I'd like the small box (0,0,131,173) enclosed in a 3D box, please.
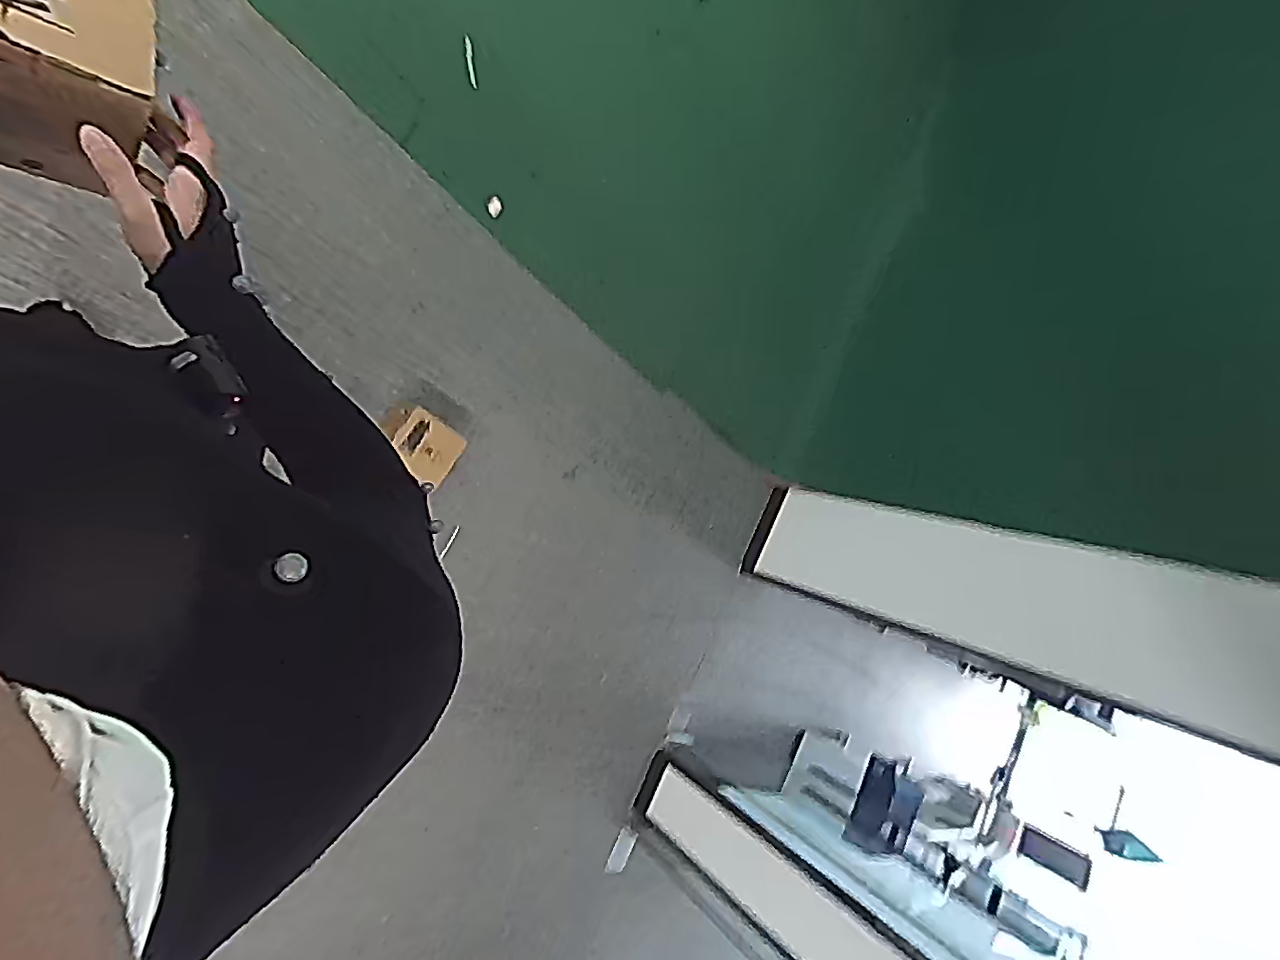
[{"bbox_3d":[-0.506,-0.377,0.408,0.168,0.176,0.179,1,80,-50],"label":"small box"}]
